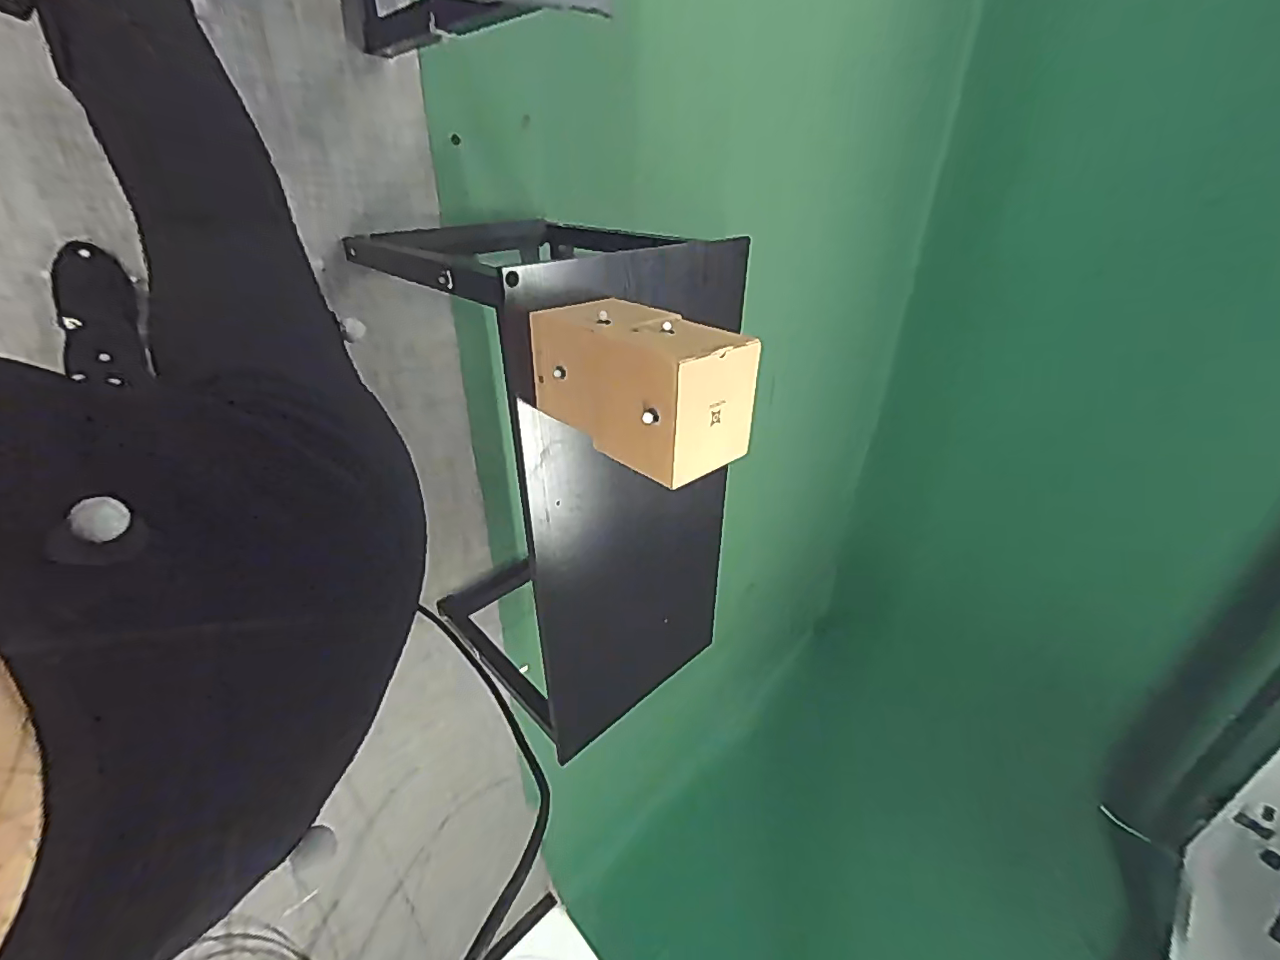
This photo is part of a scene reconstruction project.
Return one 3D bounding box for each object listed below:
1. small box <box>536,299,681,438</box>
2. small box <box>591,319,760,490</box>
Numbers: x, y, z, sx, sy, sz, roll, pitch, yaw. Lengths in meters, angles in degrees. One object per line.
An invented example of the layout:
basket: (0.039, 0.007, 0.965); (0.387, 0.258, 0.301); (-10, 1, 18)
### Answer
small box: (-0.056, -0.188, 0.873); (0.179, 0.176, 0.168); (-25, 130, -37)
small box: (0.044, -0.116, 0.766); (0.168, 0.176, 0.179); (-24, 128, -37)
